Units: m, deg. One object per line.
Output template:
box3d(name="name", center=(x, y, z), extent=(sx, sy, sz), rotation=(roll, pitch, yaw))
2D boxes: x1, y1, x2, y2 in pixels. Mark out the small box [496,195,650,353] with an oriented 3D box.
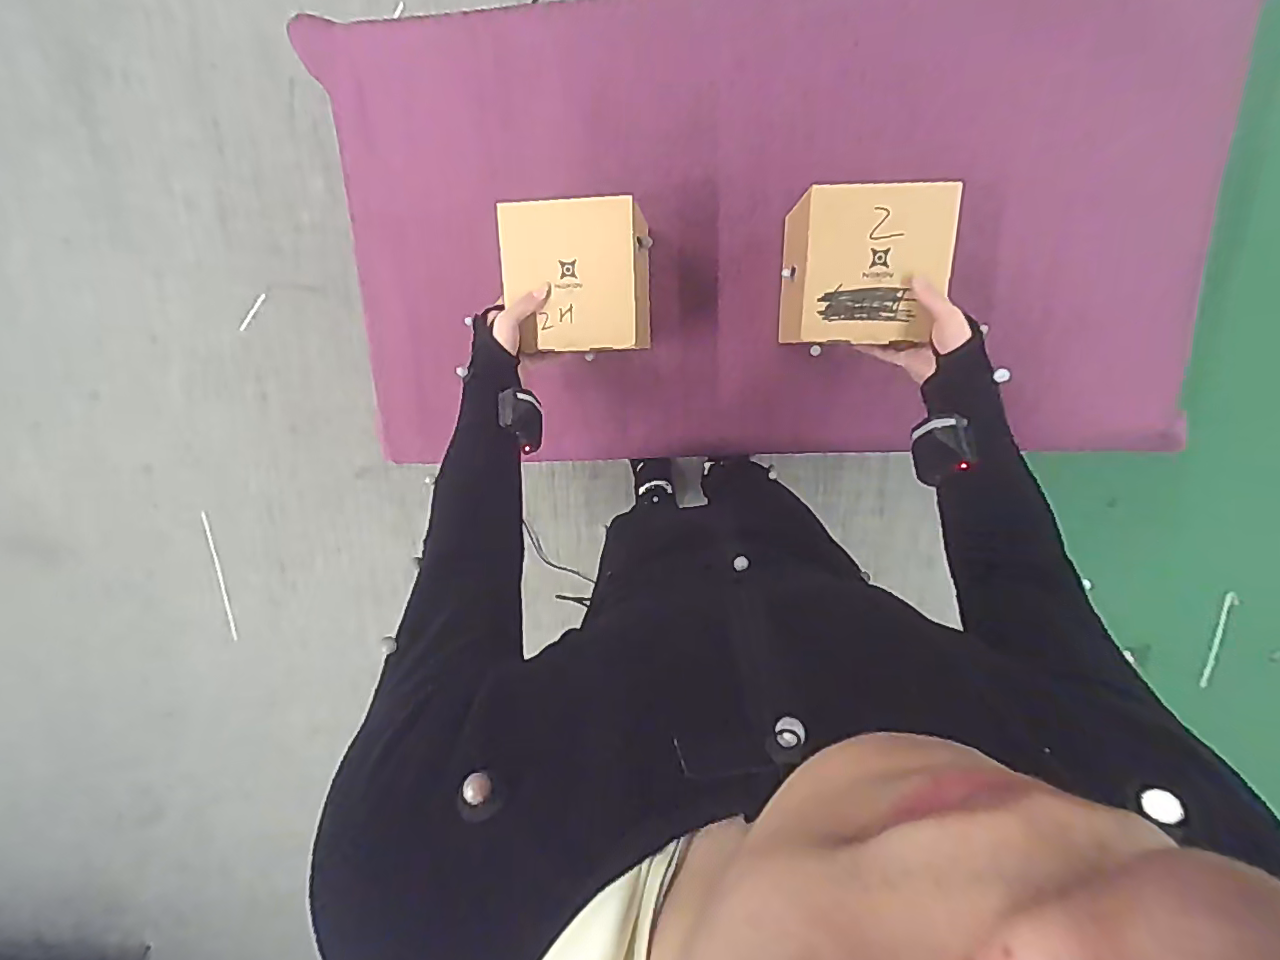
box3d(name="small box", center=(-0.078, -0.262, 0.721), extent=(0.168, 0.176, 0.179), rotation=(1, 105, 7))
